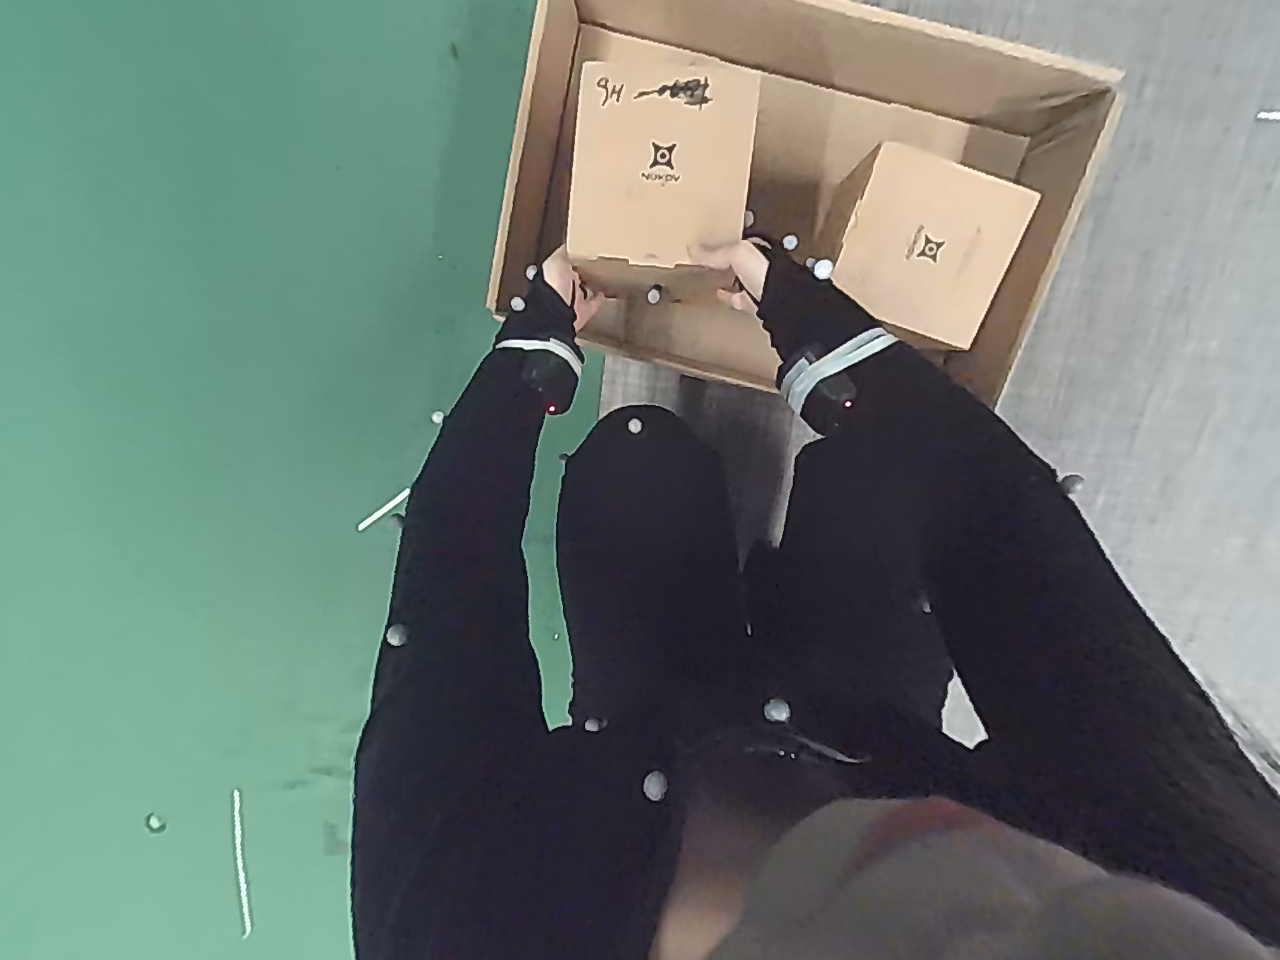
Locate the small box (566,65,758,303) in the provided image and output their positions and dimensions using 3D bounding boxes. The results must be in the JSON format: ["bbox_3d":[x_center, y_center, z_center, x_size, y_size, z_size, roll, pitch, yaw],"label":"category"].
[{"bbox_3d":[0.025,-0.298,0.582,0.168,0.176,0.179,6,97,4],"label":"small box"}]
